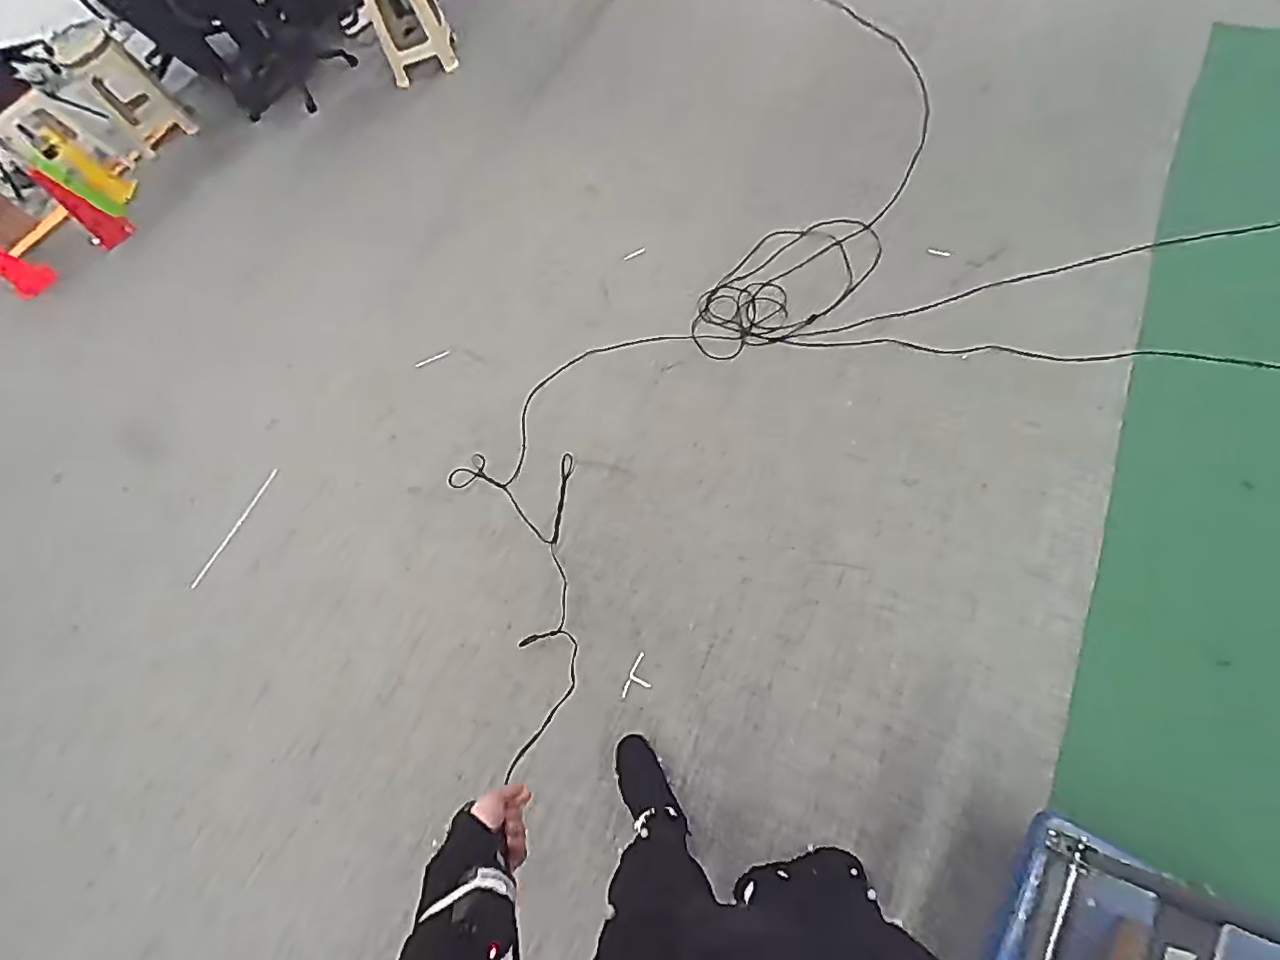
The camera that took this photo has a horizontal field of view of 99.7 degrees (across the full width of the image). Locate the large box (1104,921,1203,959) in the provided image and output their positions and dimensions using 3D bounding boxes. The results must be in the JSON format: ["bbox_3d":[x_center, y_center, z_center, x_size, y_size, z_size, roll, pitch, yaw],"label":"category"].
[{"bbox_3d":[0.937,0.949,0.753,0.408,0.320,0.320,29,74,20],"label":"large box"}]
